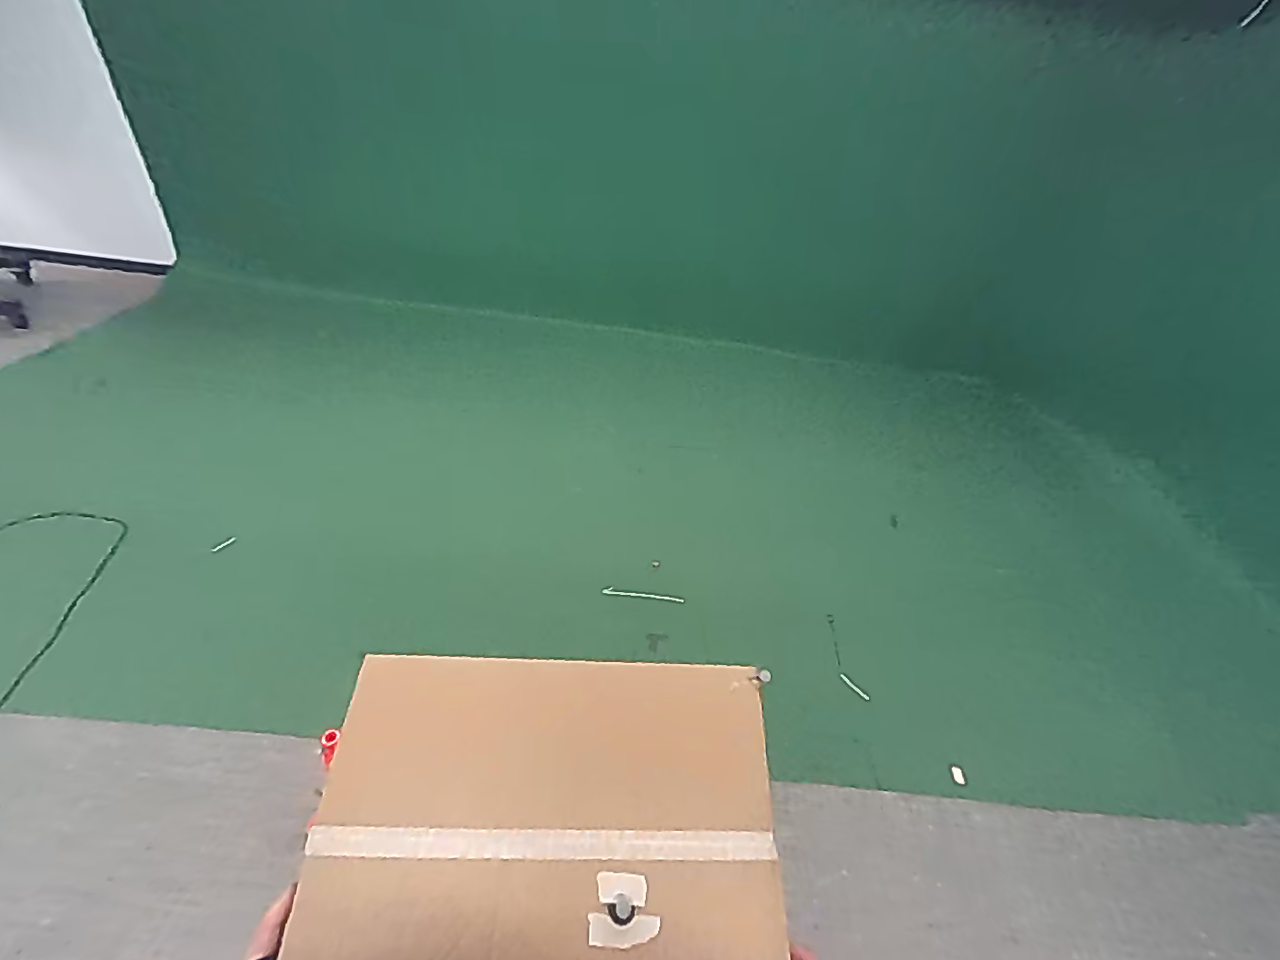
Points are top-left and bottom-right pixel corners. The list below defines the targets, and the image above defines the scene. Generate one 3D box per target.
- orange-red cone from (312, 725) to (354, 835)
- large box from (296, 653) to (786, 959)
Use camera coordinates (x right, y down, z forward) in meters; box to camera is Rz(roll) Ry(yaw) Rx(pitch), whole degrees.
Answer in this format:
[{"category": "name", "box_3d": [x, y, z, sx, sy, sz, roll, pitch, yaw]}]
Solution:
[{"category": "orange-red cone", "box_3d": [-0.726, 0.721, 1.350, 0.199, 0.360, 0.198, 10, 38, 4]}, {"category": "large box", "box_3d": [-0.088, 0.398, 0.611, 0.408, 0.320, 0.320, 3, 57, -3]}]
